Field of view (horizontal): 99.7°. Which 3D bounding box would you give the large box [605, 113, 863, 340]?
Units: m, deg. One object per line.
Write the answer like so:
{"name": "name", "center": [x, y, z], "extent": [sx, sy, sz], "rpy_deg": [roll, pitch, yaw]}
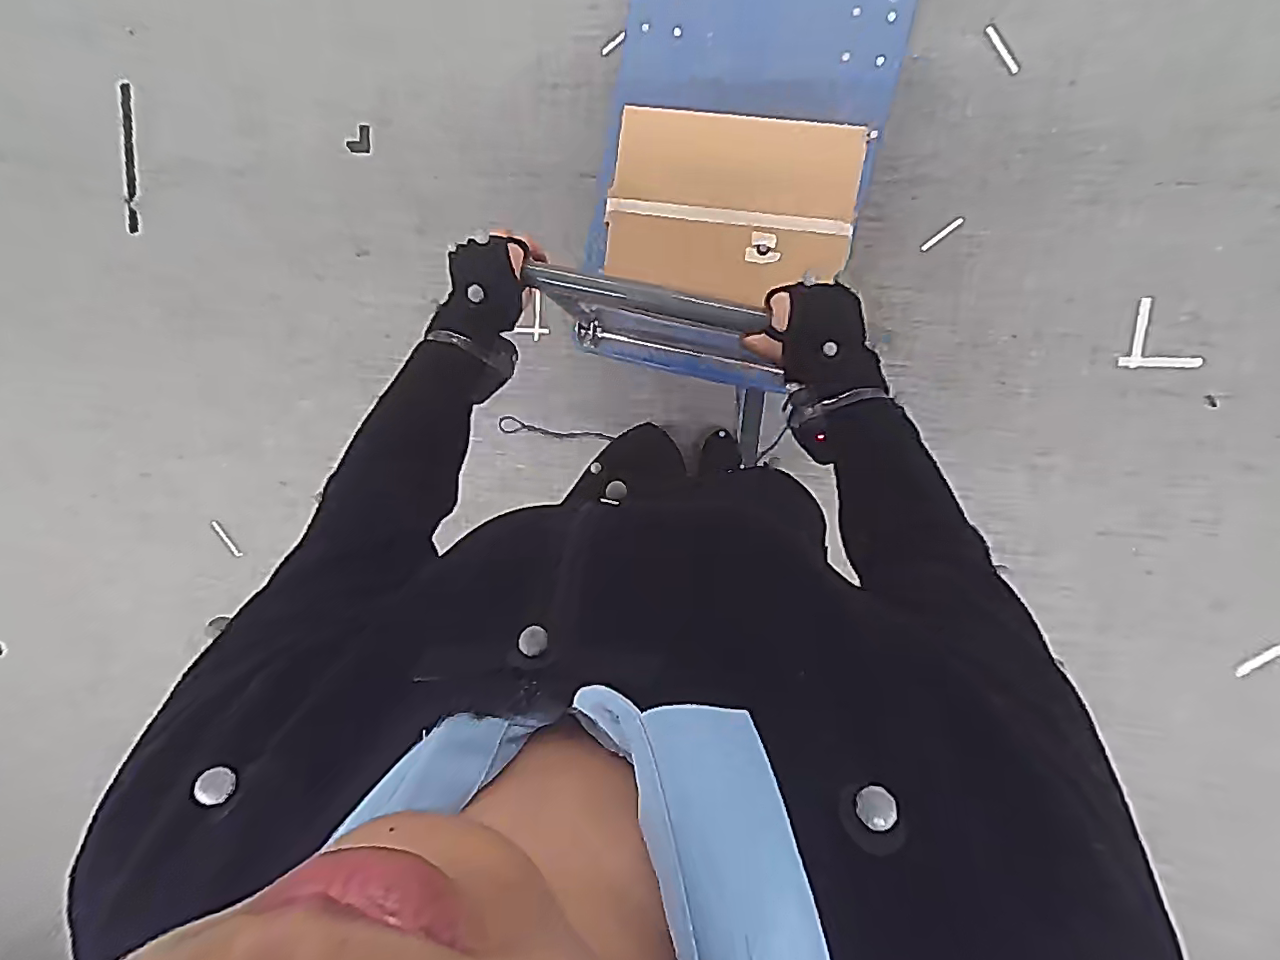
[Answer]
{"name": "large box", "center": [0.165, -0.470, 1.070], "extent": [0.408, 0.320, 0.320], "rpy_deg": [9, 101, 5]}
